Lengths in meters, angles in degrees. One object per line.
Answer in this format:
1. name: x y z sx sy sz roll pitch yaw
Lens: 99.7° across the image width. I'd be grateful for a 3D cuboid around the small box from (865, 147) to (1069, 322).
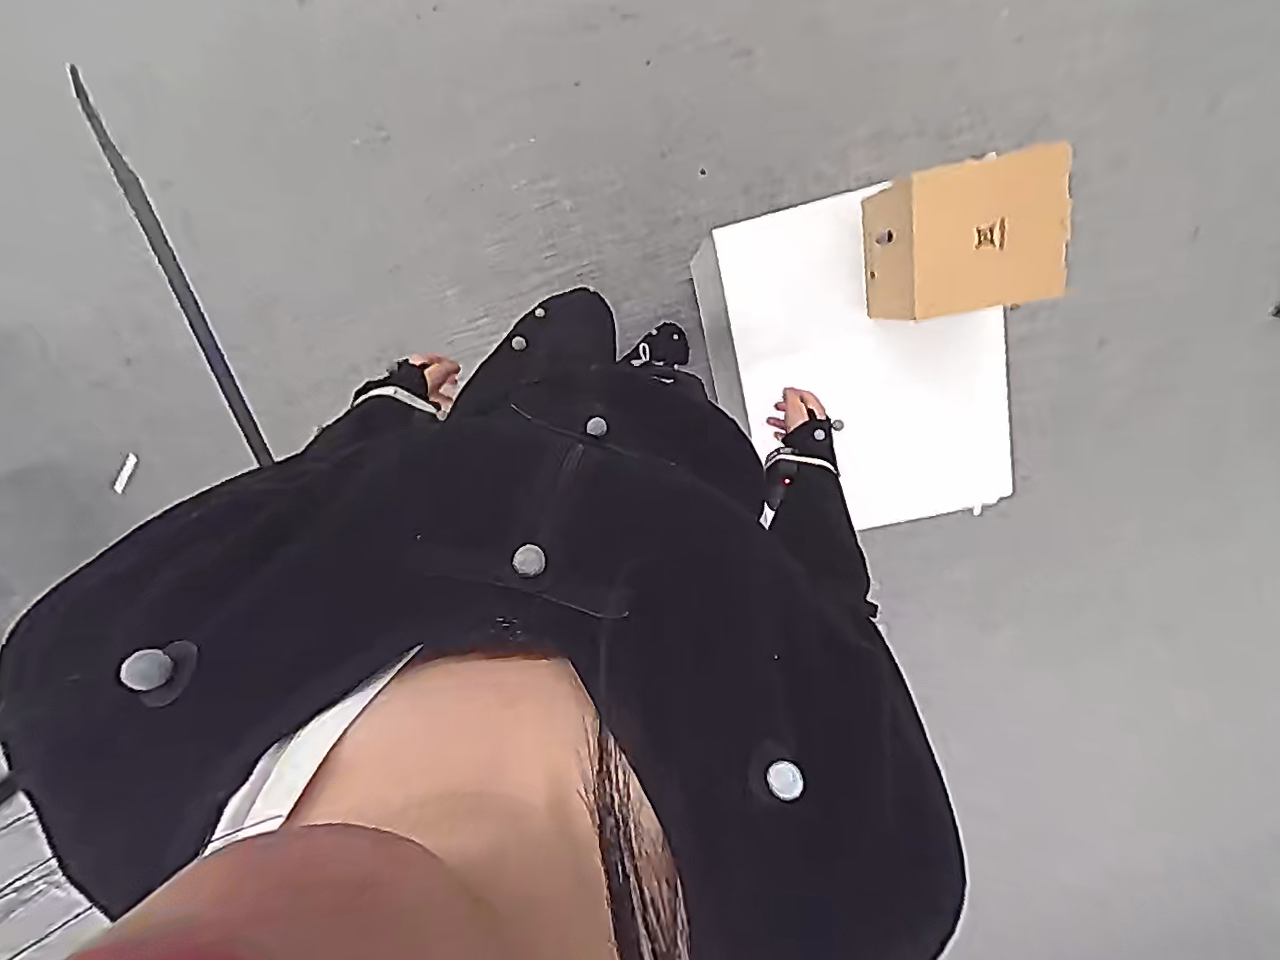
1. small box: 0.405 -0.303 0.703 0.179 0.176 0.168 -9 108 5
